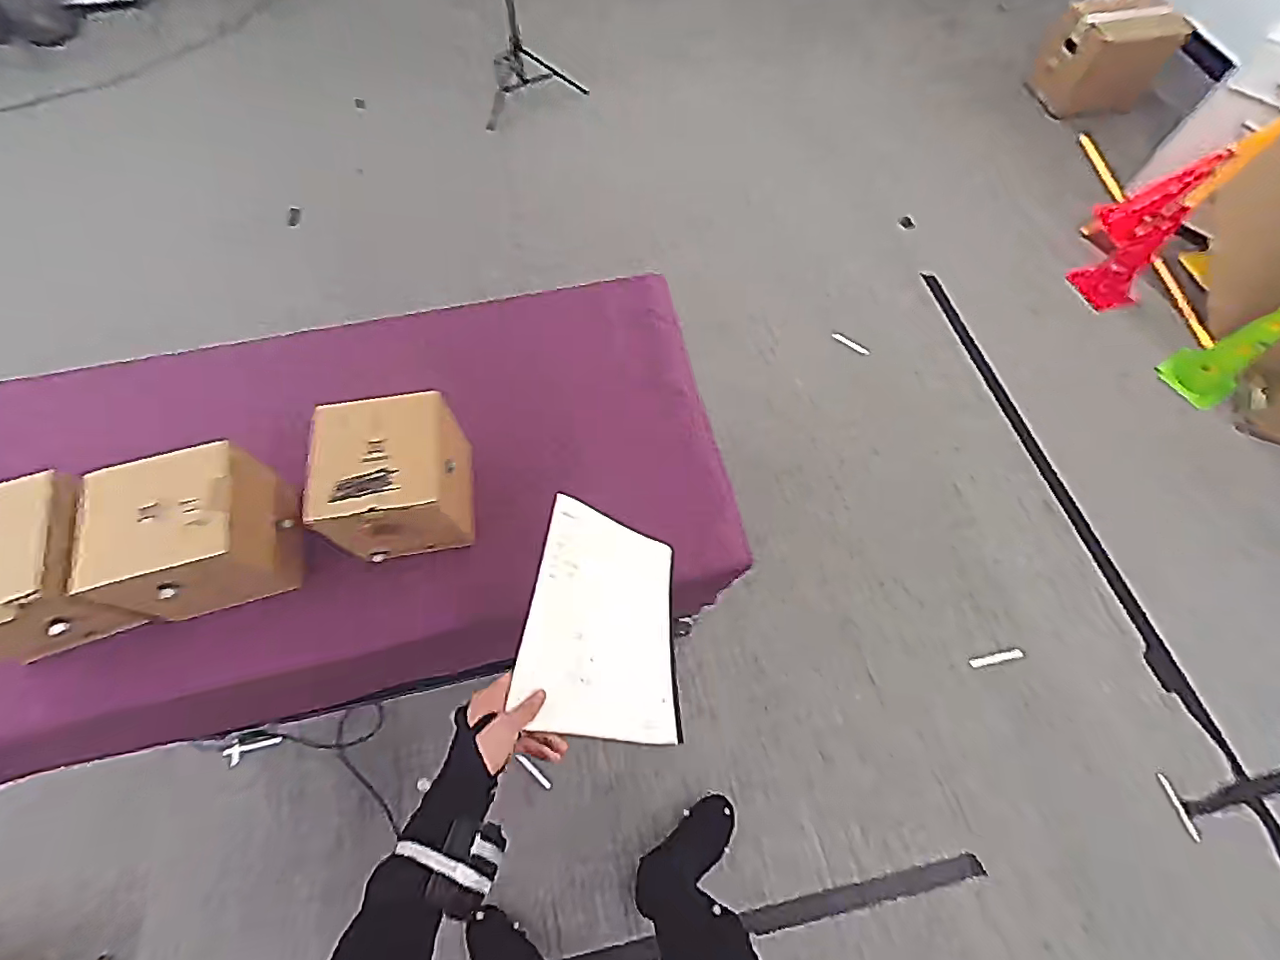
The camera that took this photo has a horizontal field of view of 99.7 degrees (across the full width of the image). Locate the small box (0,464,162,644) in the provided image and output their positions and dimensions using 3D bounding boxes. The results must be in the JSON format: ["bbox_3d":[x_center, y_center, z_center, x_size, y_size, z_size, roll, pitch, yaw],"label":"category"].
[{"bbox_3d":[-0.795,0.109,0.730,0.168,0.176,0.179,-18,66,-9],"label":"small box"}]

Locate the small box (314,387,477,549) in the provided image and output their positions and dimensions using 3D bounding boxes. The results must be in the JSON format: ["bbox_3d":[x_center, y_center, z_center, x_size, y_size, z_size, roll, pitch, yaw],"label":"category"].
[{"bbox_3d":[-0.340,-0.008,0.785,0.168,0.176,0.179,-8,64,-4],"label":"small box"}]
